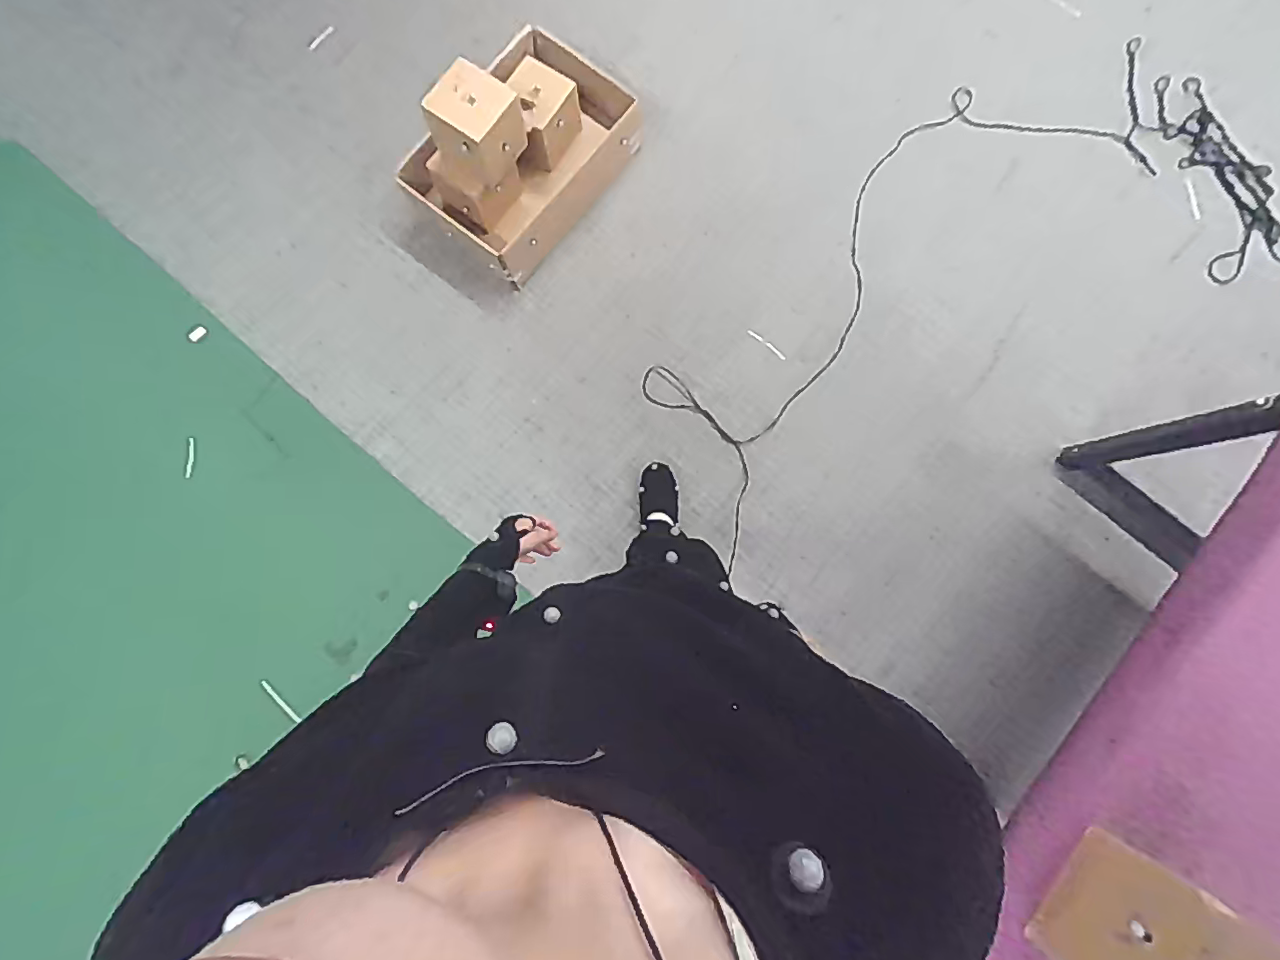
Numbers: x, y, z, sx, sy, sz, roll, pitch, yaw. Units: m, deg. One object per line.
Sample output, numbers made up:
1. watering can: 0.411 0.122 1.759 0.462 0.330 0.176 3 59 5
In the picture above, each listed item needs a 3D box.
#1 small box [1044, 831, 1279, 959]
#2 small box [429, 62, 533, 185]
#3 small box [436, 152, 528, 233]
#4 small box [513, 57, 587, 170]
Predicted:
1. small box: 0.637 0.577 0.643 0.168 0.176 0.179 39 84 7
2. small box: -0.395 -0.900 1.384 0.179 0.176 0.168 33 82 3
3. small box: -0.439 -0.850 1.542 0.168 0.176 0.179 35 82 4
4. small box: -0.268 -1.050 1.566 0.168 0.176 0.179 32 84 4
